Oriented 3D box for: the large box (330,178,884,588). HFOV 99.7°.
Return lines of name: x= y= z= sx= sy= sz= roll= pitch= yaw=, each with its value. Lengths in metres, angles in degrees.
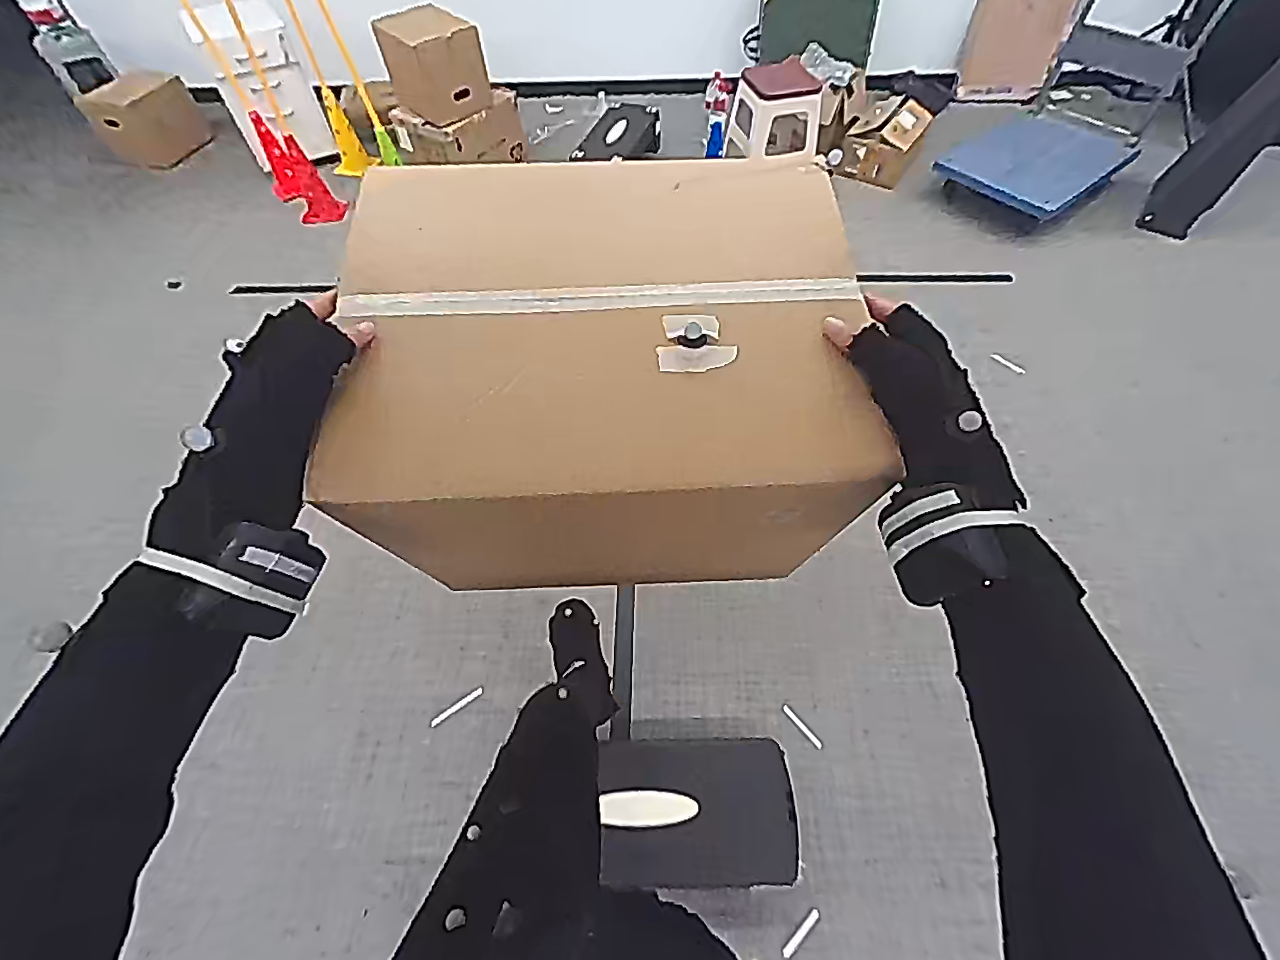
large box: x=-0.031 y=-0.076 z=0.576 sx=0.408 sy=0.320 sz=0.320 roll=-2 pitch=68 yaw=-1
